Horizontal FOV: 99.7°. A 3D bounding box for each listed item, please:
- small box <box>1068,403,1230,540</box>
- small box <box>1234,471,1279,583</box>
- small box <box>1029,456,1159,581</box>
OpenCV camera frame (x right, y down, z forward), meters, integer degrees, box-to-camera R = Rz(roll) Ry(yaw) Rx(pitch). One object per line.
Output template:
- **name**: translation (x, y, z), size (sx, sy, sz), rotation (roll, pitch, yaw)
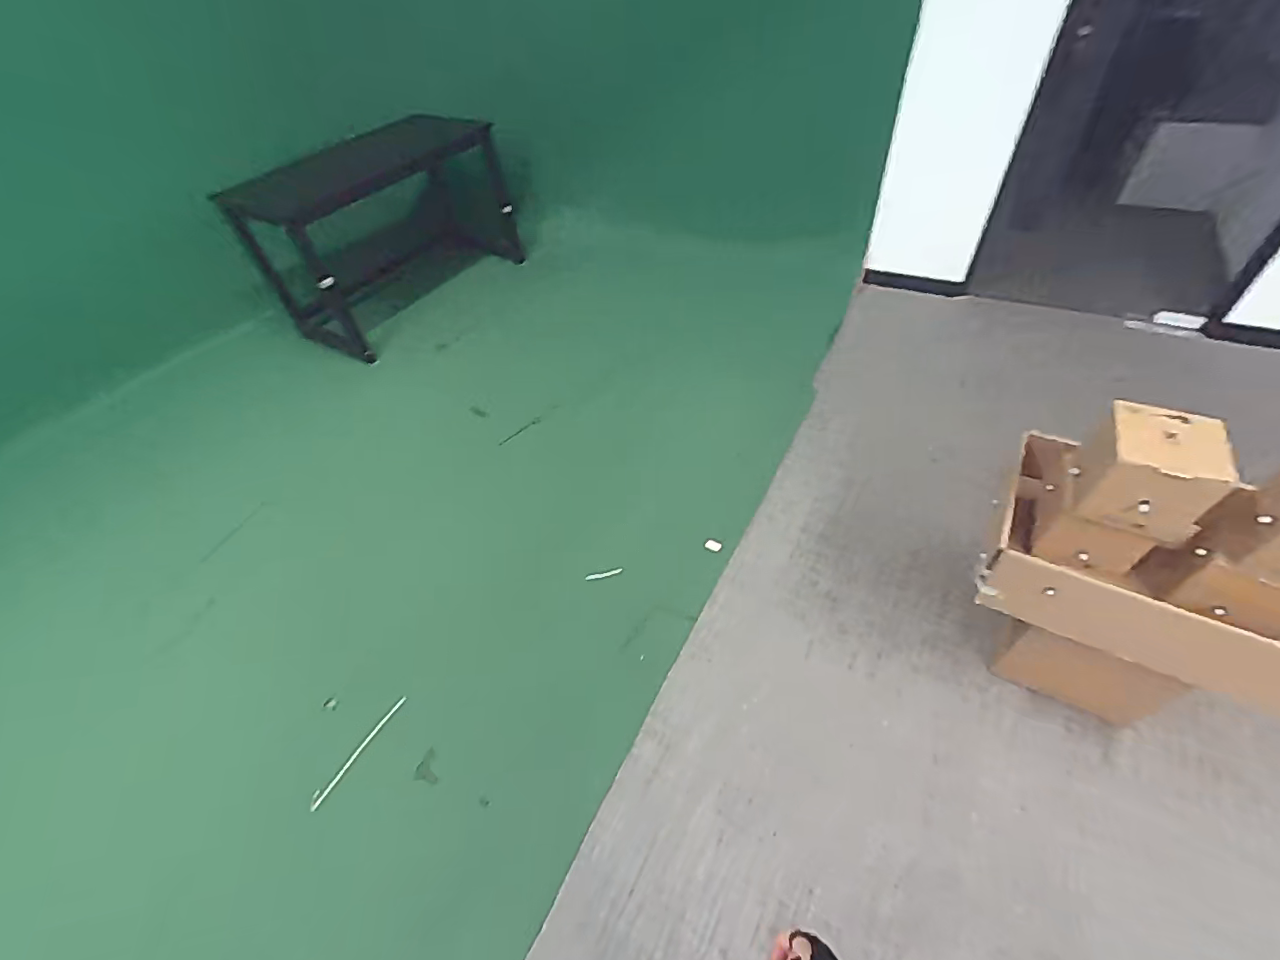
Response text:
- **small box**: translation (0.953, -0.013, 1.031), size (0.168, 0.176, 0.179), rotation (19, 54, 21)
- **small box**: translation (1.175, 0.087, 0.919), size (0.168, 0.176, 0.179), rotation (26, 56, 26)
- **small box**: translation (0.967, 0.083, 1.164), size (0.168, 0.176, 0.179), rotation (18, 53, 22)
